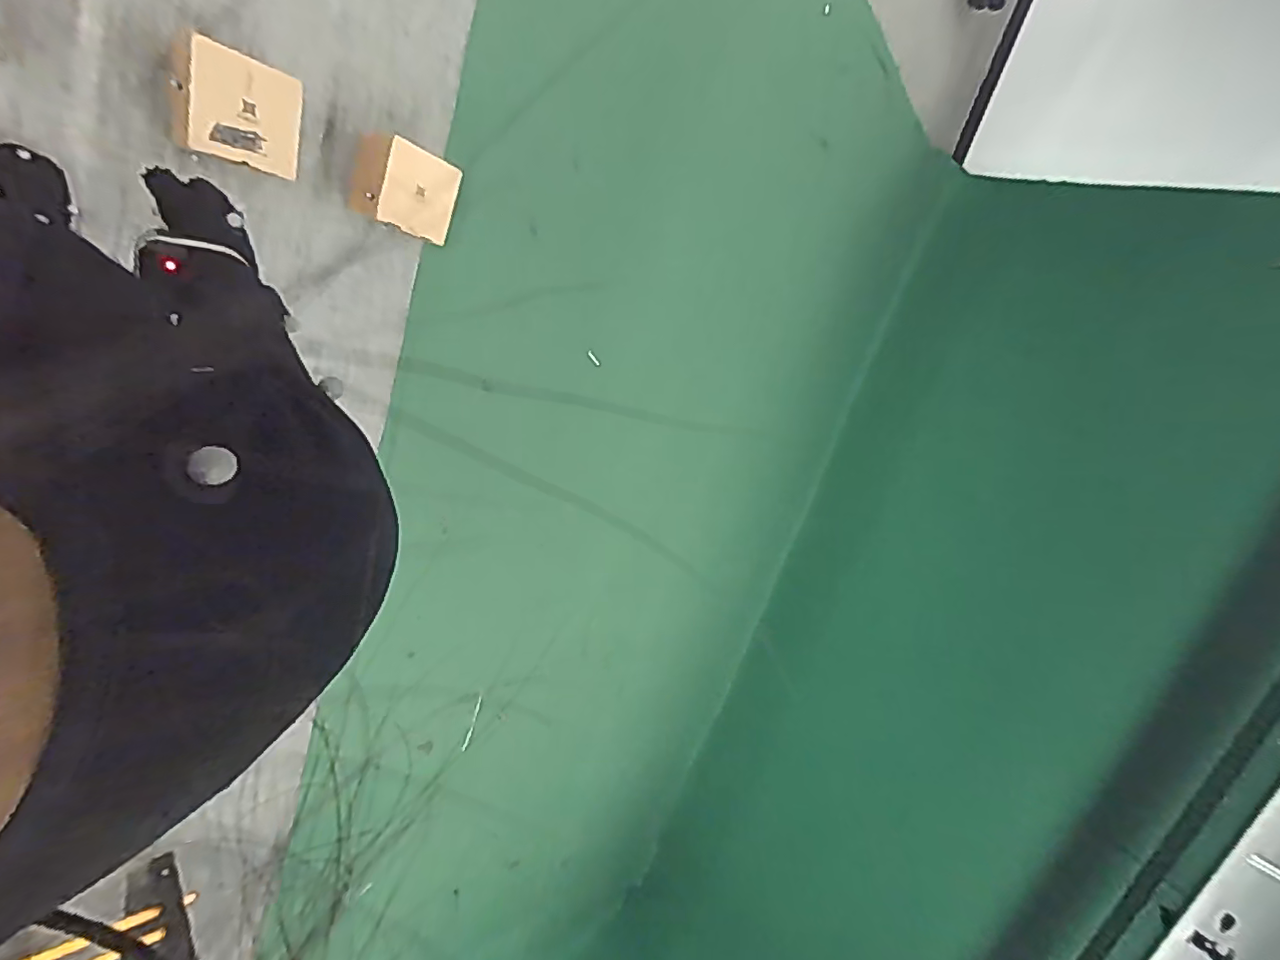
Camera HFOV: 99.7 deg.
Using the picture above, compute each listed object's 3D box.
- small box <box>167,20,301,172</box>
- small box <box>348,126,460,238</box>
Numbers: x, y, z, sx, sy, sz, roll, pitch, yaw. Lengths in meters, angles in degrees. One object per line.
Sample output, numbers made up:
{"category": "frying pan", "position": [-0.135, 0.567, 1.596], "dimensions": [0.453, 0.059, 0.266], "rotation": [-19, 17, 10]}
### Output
{"category": "small box", "position": [-0.758, -0.703, 1.008], "dimensions": [0.168, 0.176, 0.179], "rotation": [-4, 116, -49]}
{"category": "small box", "position": [-0.554, -0.694, 1.260], "dimensions": [0.168, 0.176, 0.179], "rotation": [4, 111, -50]}
